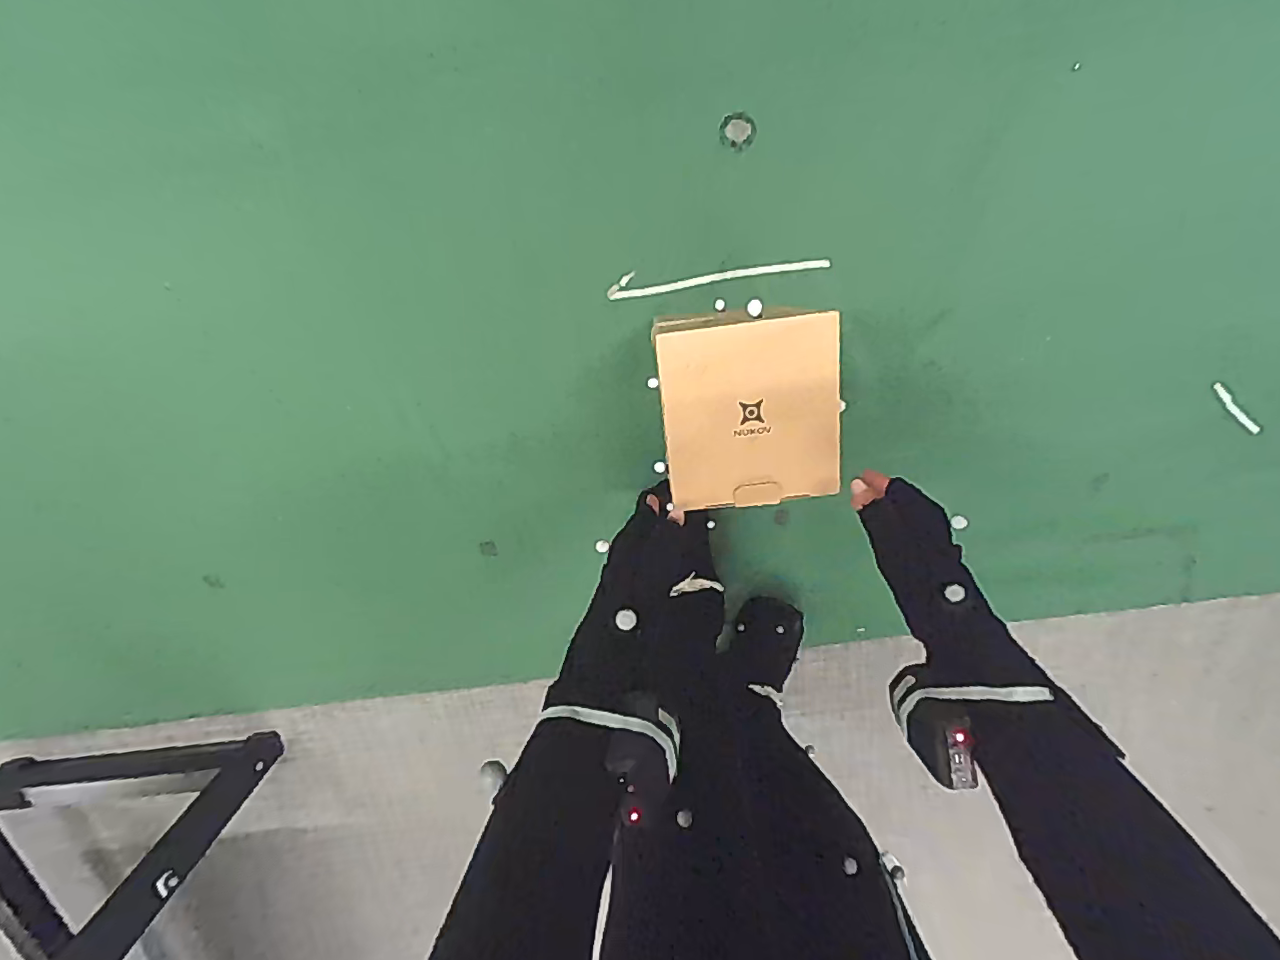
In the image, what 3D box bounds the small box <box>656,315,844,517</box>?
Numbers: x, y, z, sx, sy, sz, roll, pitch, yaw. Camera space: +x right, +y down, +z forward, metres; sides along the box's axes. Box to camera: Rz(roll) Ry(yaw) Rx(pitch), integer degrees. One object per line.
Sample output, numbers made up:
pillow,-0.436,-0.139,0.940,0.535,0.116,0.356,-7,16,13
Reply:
small box,0.108,-0.079,0.582,0.168,0.176,0.179,-7,109,3
